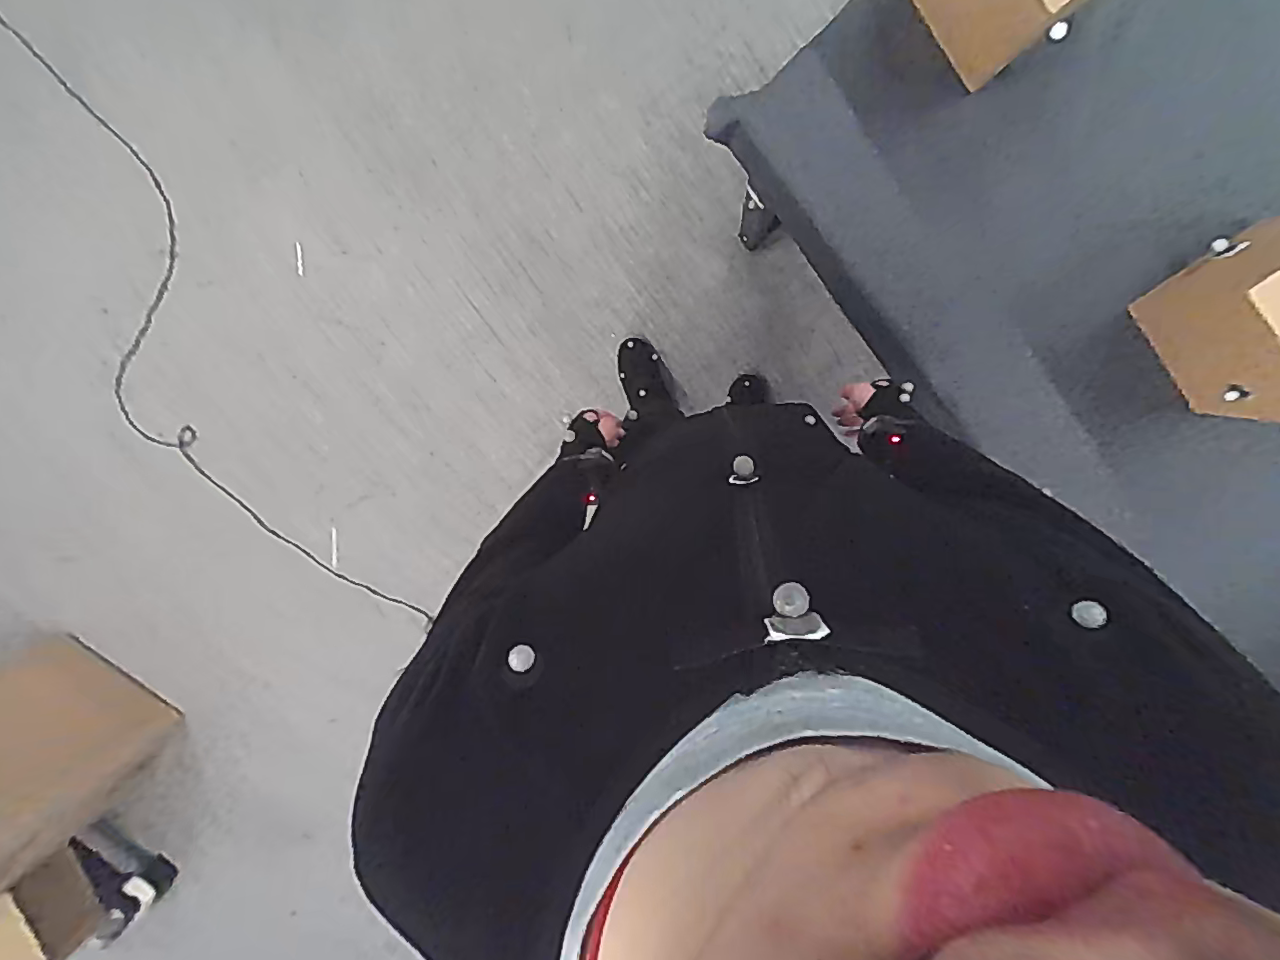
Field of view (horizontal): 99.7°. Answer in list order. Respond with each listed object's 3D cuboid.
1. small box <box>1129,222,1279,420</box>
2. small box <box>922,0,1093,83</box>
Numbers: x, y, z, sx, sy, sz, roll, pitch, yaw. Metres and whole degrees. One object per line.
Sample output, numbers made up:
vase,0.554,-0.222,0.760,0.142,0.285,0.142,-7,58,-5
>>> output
small box,0.738,-0.187,0.619,0.168,0.176,0.179,-37,96,13
small box,0.415,-0.571,0.558,0.168,0.176,0.179,-36,98,14
